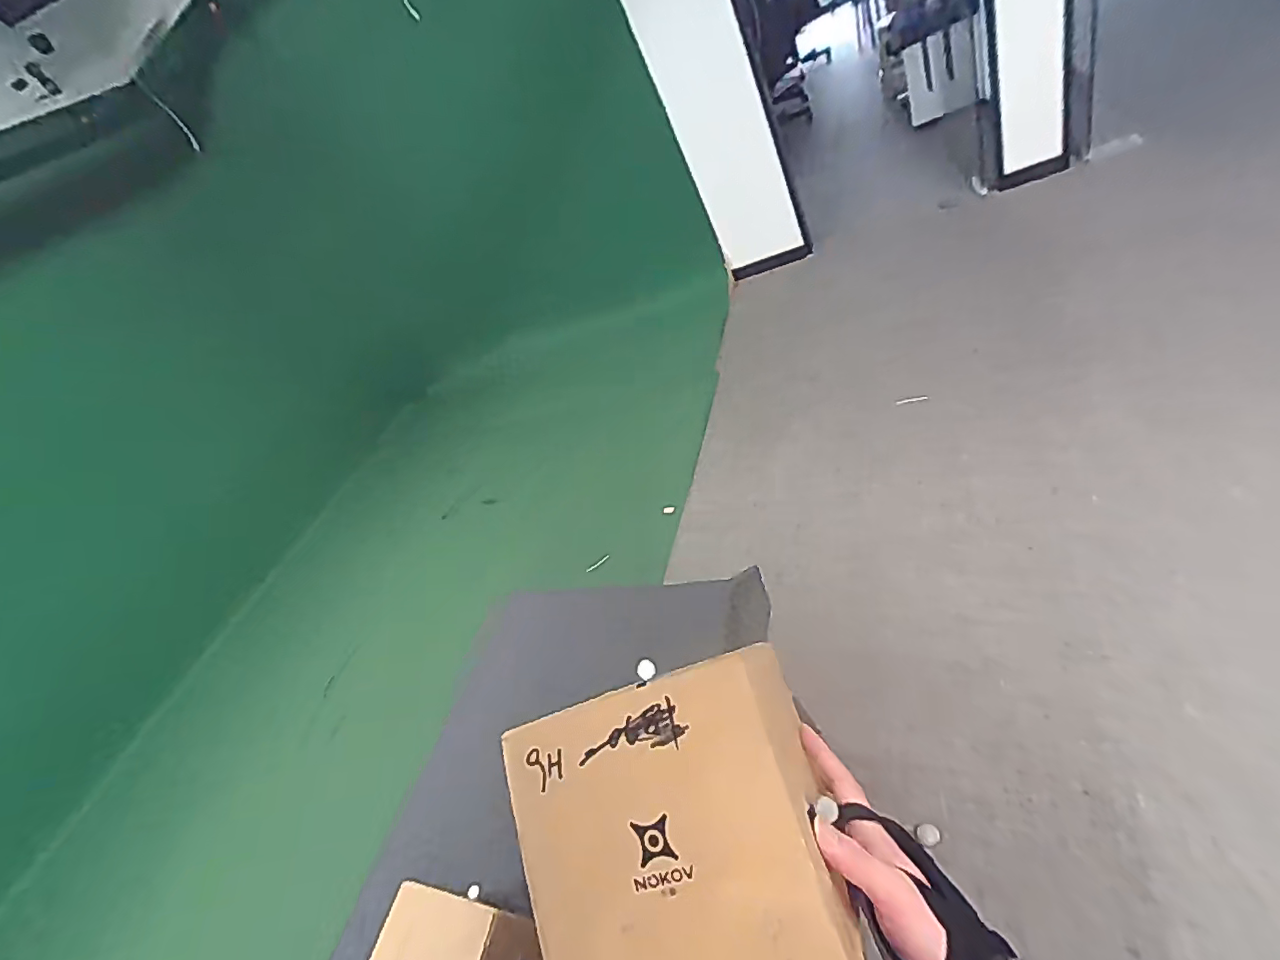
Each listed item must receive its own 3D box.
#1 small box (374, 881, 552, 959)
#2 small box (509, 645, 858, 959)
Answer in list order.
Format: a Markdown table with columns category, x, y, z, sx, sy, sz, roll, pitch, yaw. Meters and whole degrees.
| category | x | y | z | sx | sy | sz | roll | pitch | yaw |
| --- | --- | --- | --- | --- | --- | --- | --- | --- | --- |
| small box | -0.224 | 0.645 | 0.689 | 0.179 | 0.176 | 0.168 | -11 | 42 | 30 |
| small box | 0.040 | 0.228 | 0.374 | 0.168 | 0.176 | 0.179 | -22 | 72 | 12 |
